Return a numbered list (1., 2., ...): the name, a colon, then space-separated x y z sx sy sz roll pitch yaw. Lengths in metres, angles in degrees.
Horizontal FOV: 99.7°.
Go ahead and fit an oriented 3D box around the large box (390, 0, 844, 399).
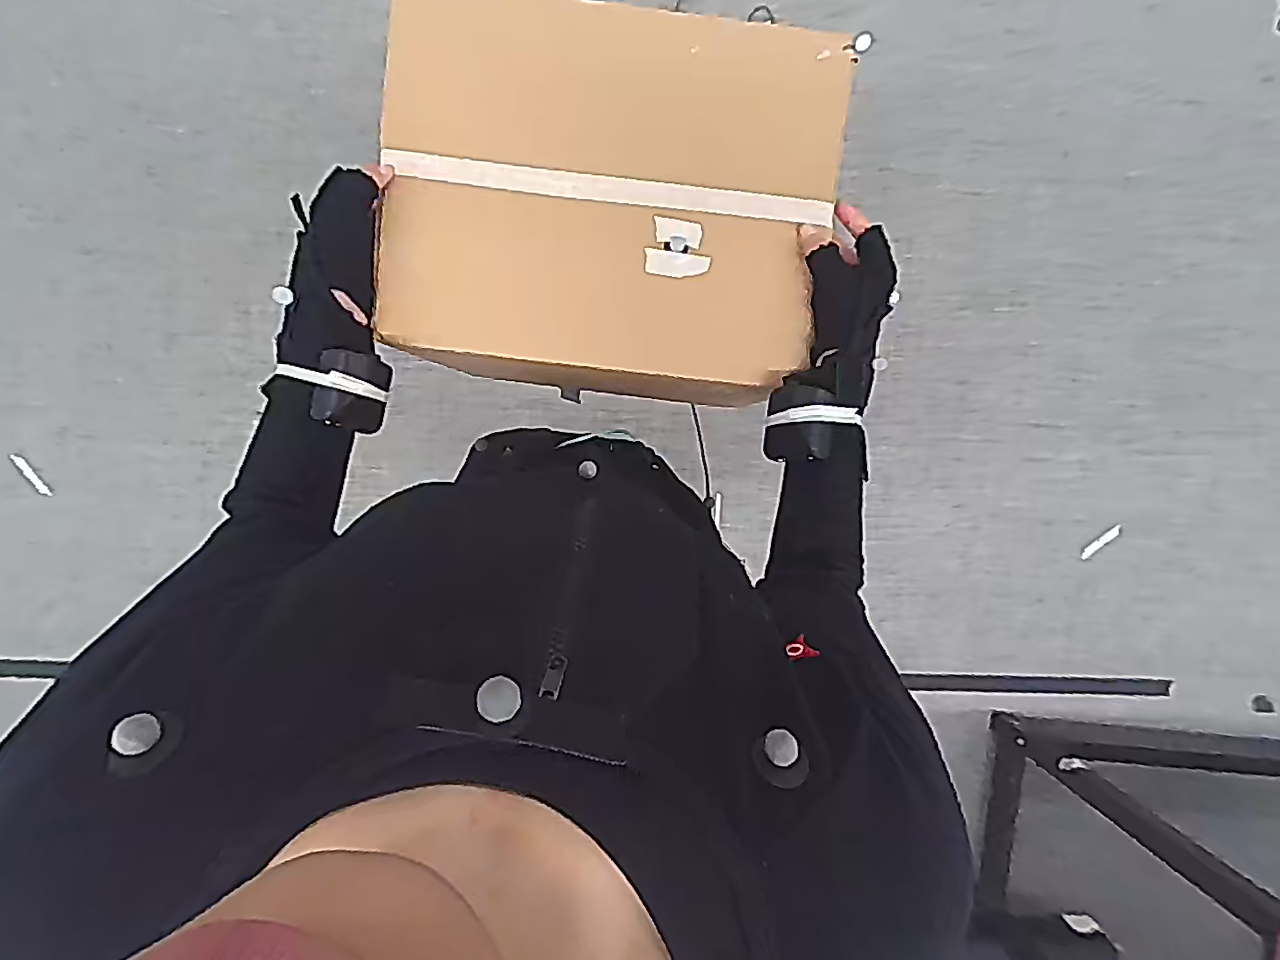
1. large box: -0.029 -0.279 0.648 0.408 0.320 0.320 6 96 -2
